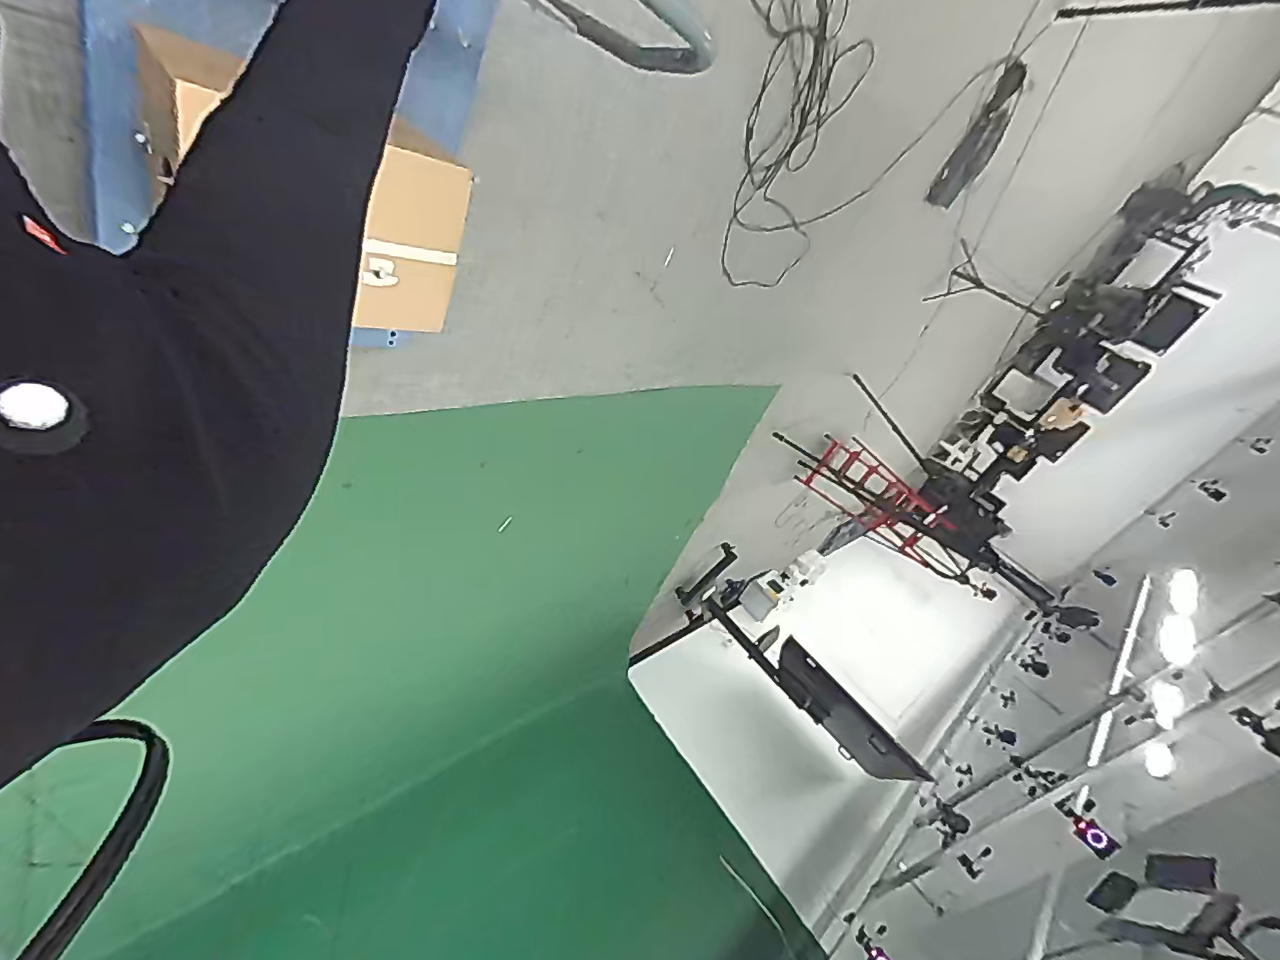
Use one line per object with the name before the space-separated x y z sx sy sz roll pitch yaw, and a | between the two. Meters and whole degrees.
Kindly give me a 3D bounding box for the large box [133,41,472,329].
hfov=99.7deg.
large box | -0.574 -0.483 0.948 0.408 0.320 0.320 -13 139 -45
